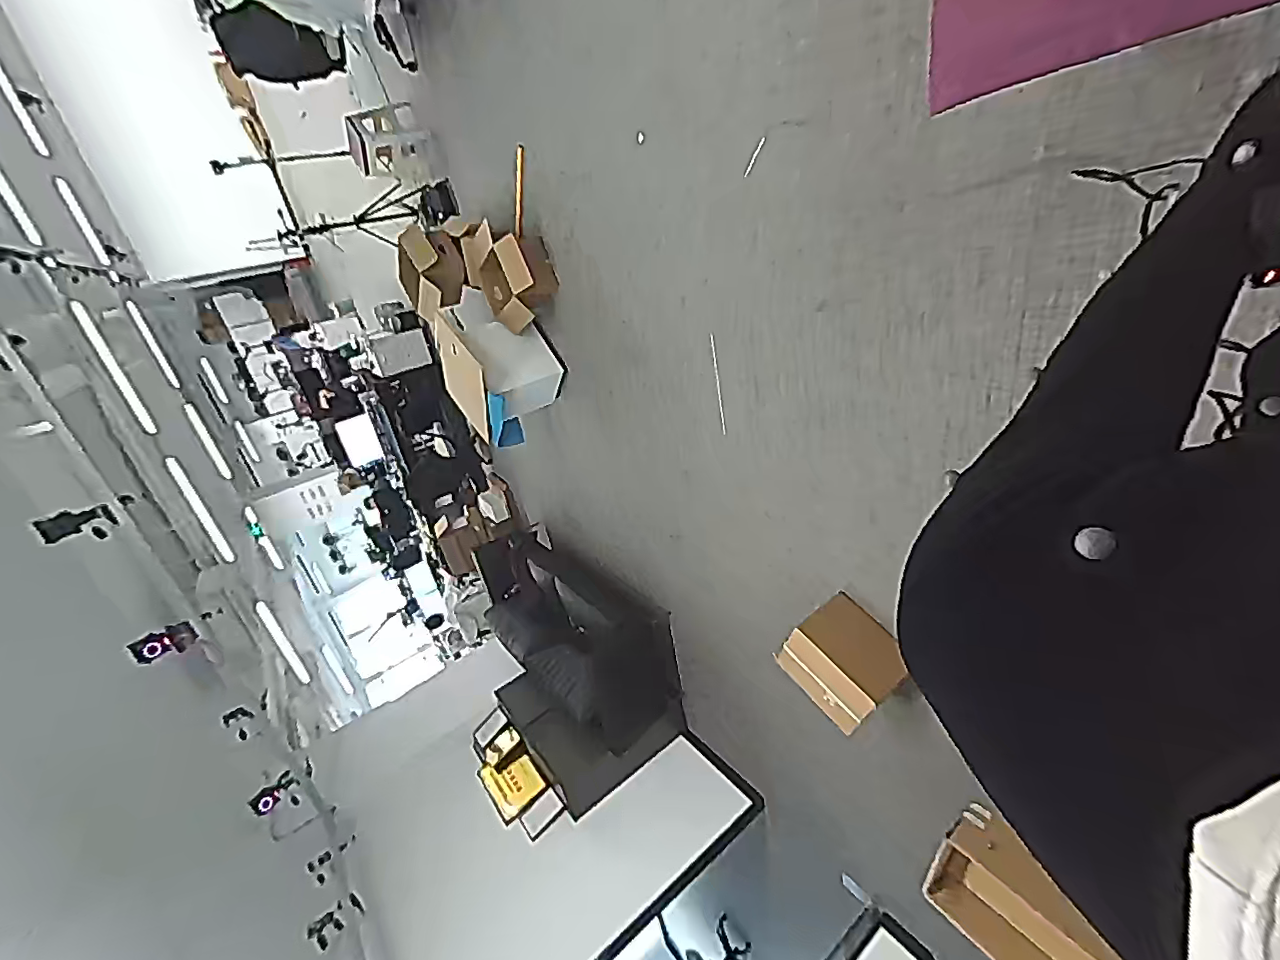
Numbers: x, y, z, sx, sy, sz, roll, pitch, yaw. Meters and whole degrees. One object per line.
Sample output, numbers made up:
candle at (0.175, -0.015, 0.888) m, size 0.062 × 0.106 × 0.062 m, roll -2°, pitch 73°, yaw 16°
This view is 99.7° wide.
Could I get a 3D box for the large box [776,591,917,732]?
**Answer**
large box at (0.859, 0.755, 2.285) m, size 0.408 × 0.320 × 0.320 m, roll 43°, pitch 146°, yaw 31°
